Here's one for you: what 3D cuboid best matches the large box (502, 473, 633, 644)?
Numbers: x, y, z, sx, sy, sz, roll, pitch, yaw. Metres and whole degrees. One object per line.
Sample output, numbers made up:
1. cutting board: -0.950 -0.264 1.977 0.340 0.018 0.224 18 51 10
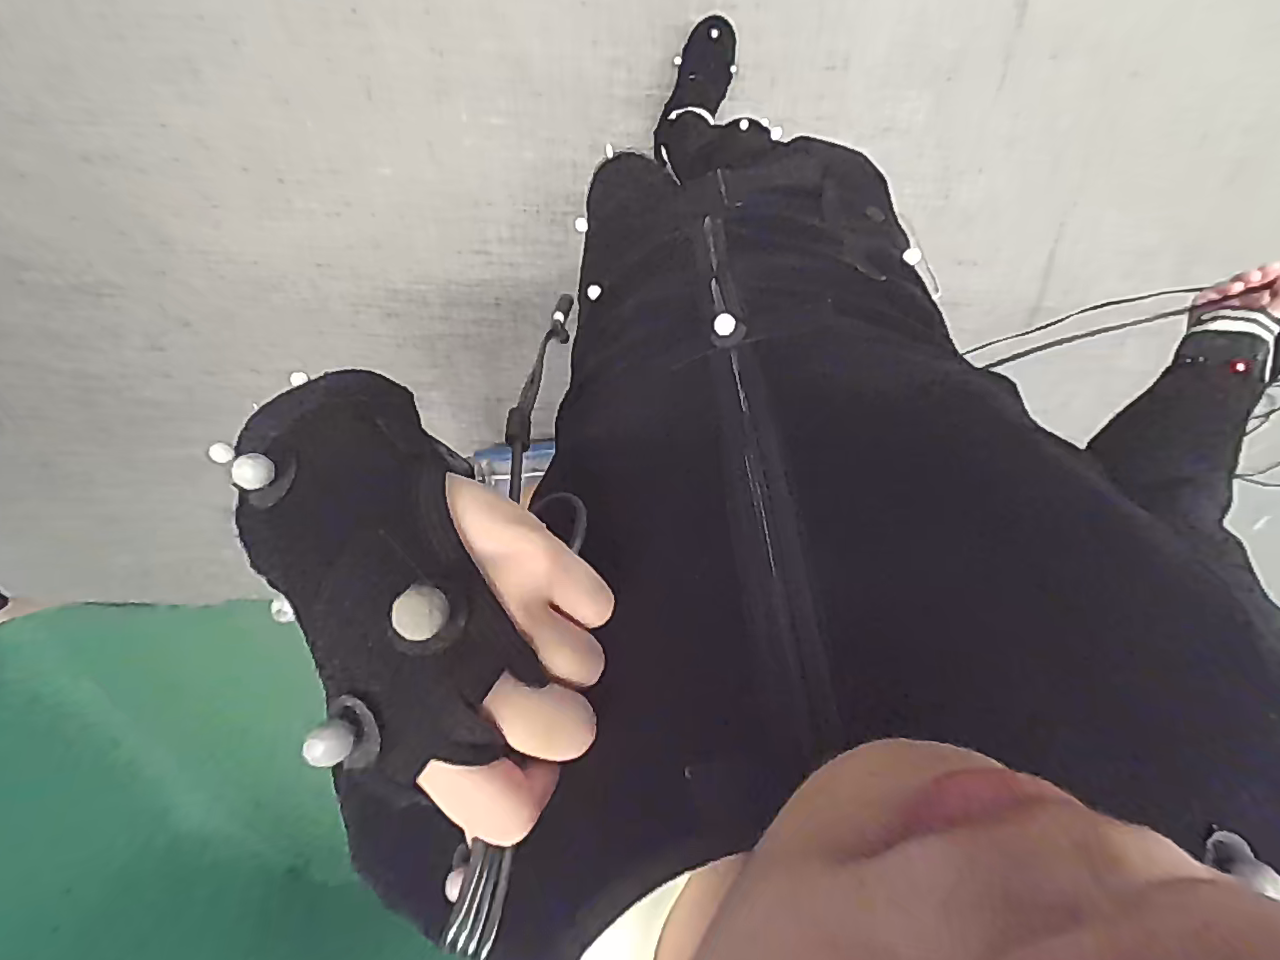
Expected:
1. large box: -0.191 0.232 1.615 0.320 0.320 0.408 -3 126 3
